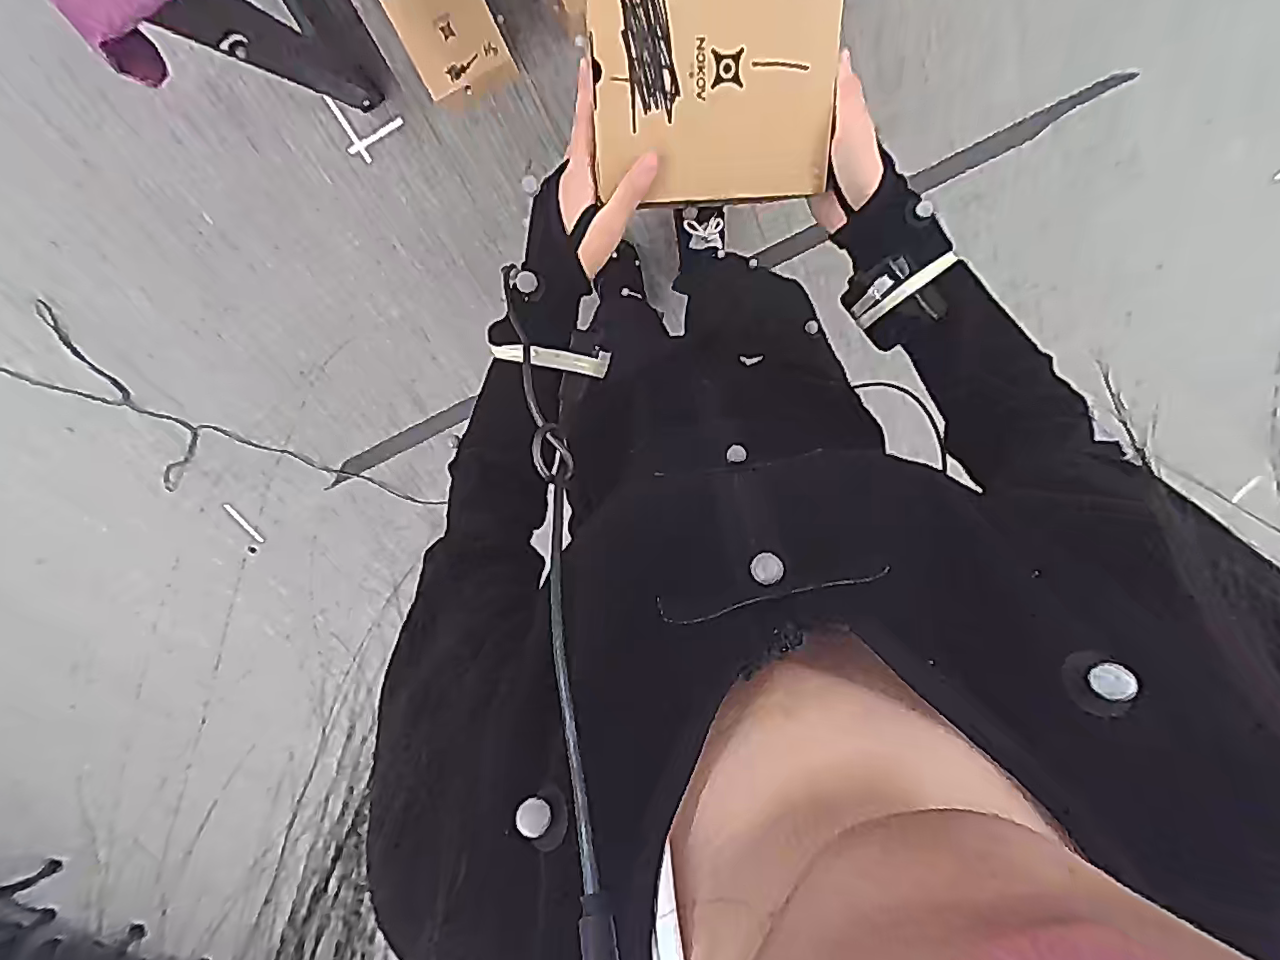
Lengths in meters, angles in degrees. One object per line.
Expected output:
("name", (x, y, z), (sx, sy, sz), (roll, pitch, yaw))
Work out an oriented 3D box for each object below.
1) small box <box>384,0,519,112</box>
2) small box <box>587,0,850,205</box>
("small box", (-0.347, -0.837, 1.019), (0.168, 0.176, 0.179), (-24, 115, 7))
("small box", (0.050, -0.321, 0.441), (0.179, 0.176, 0.168), (-3, 116, -2))
